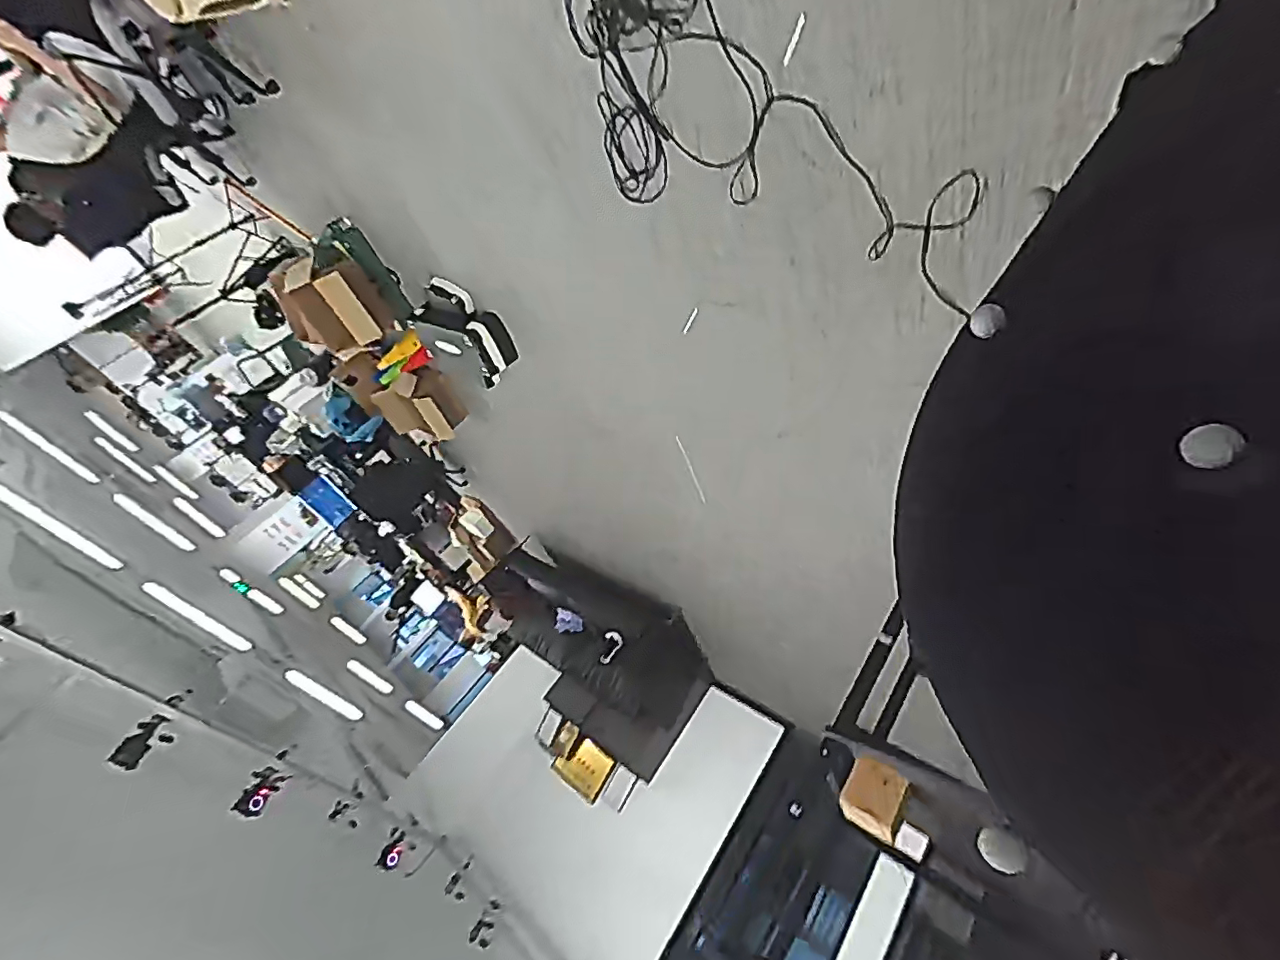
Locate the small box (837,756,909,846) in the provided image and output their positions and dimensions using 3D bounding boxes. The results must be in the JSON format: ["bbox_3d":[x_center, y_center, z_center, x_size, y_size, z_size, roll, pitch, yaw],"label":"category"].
[{"bbox_3d":[0.780,1.063,1.797,0.168,0.176,0.179,17,145,42],"label":"small box"}]
